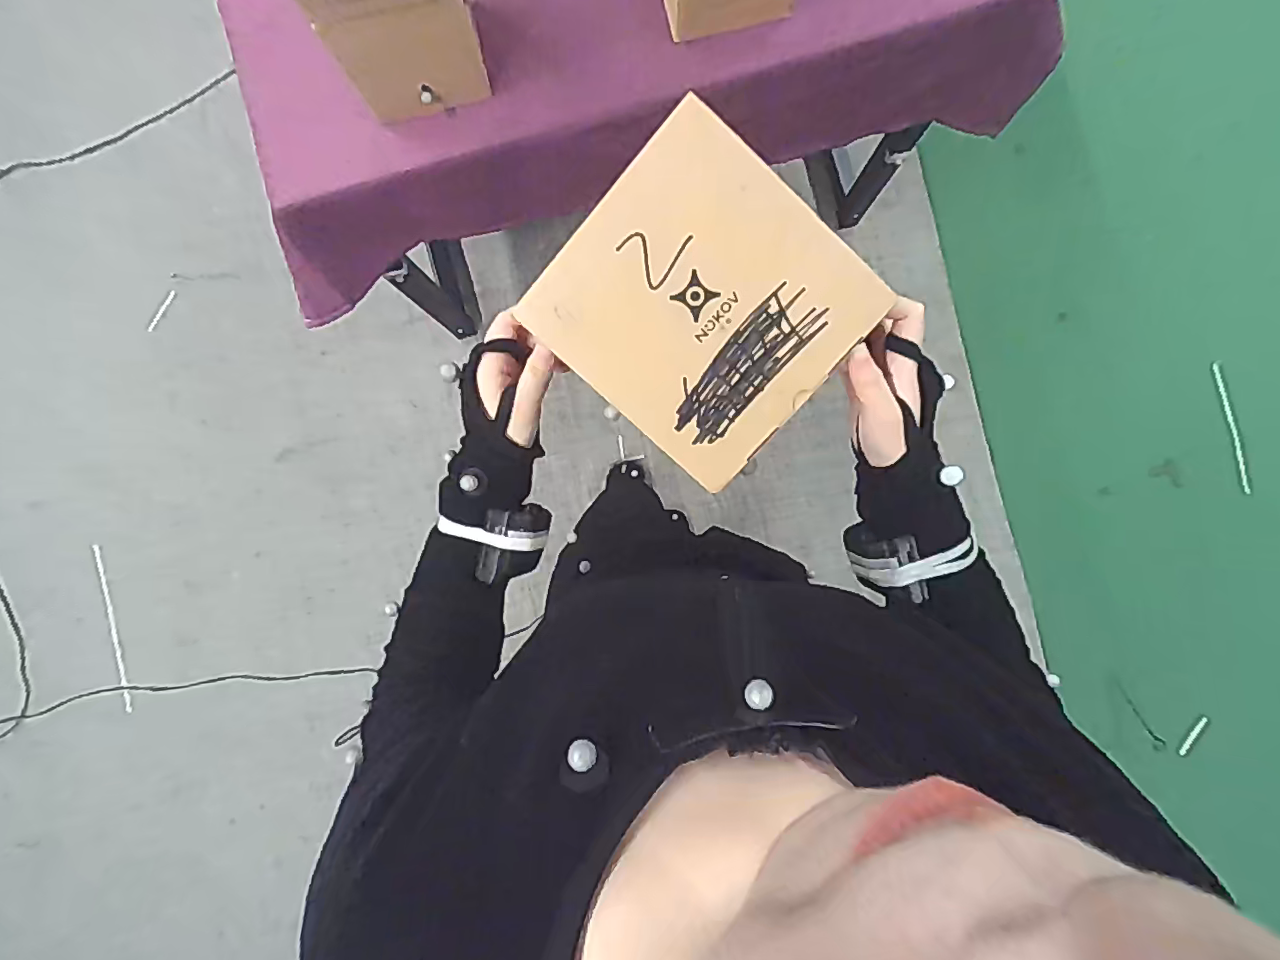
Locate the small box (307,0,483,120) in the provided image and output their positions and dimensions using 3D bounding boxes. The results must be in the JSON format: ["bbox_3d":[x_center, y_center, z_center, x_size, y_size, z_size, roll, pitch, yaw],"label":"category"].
[{"bbox_3d":[-0.326,-0.635,0.732,0.179,0.176,0.168,-14,87,0],"label":"small box"}]

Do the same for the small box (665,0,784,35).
[{"bbox_3d":[0.112,-0.751,0.726,0.179,0.176,0.168,-12,87,1],"label":"small box"}]
